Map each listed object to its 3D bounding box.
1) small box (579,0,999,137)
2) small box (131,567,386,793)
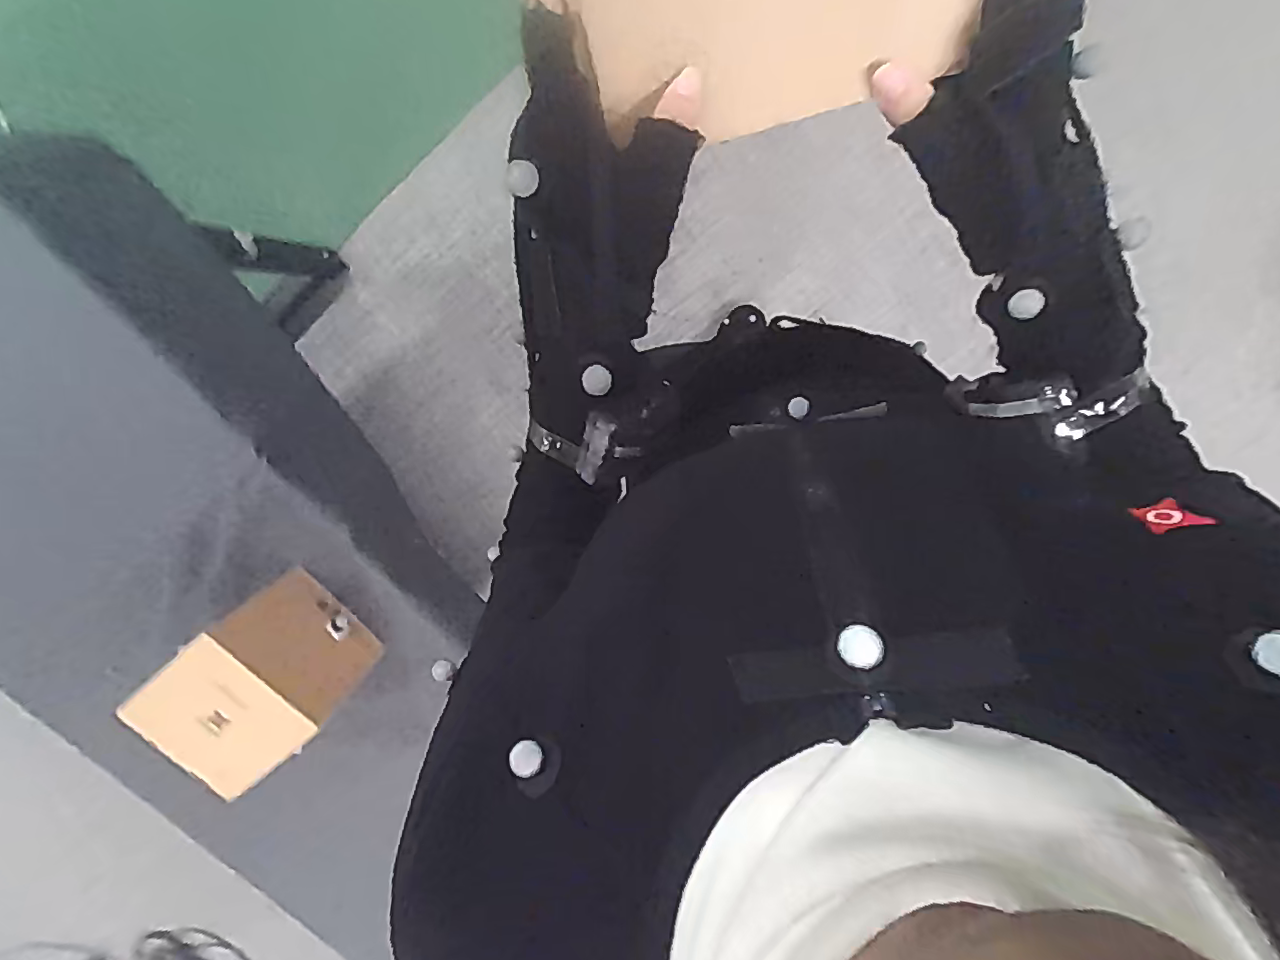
[{"bbox_3d":[0.048,-0.290,0.265,0.179,0.176,0.168,-16,127,4],"label":"small box"},{"bbox_3d":[-0.472,0.248,0.700,0.179,0.176,0.168,-40,102,12],"label":"small box"}]
